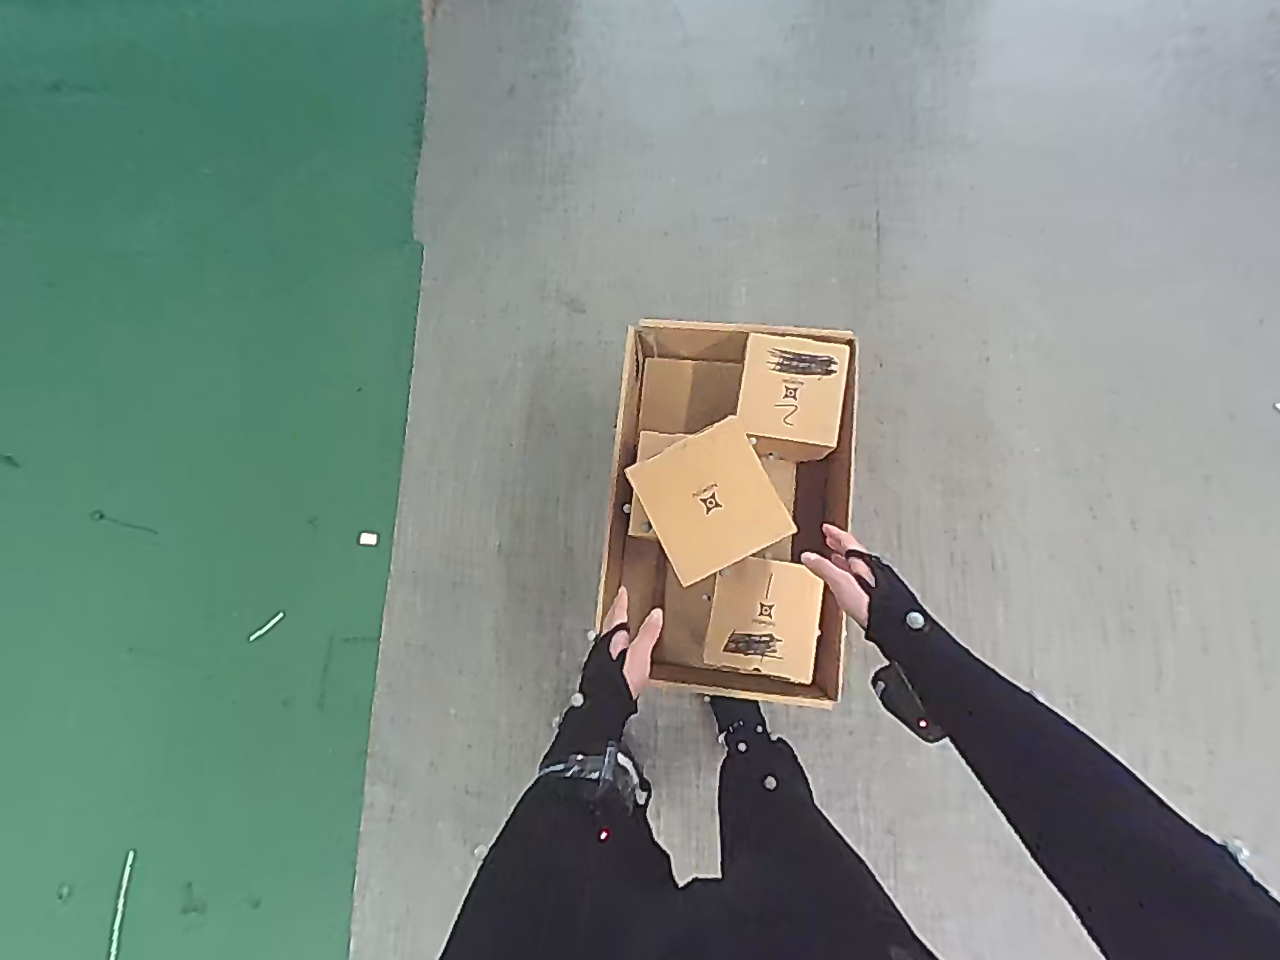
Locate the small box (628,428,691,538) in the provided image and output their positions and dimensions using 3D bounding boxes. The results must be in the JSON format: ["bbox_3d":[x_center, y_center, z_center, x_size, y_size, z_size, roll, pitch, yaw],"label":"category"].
[{"bbox_3d":[0.079,0.019,0.942,0.168,0.176,0.179,6,83,6],"label":"small box"}]

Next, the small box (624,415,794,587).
[{"bbox_3d":[0.096,0.035,0.773,0.168,0.176,0.179,-27,80,1],"label":"small box"}]
